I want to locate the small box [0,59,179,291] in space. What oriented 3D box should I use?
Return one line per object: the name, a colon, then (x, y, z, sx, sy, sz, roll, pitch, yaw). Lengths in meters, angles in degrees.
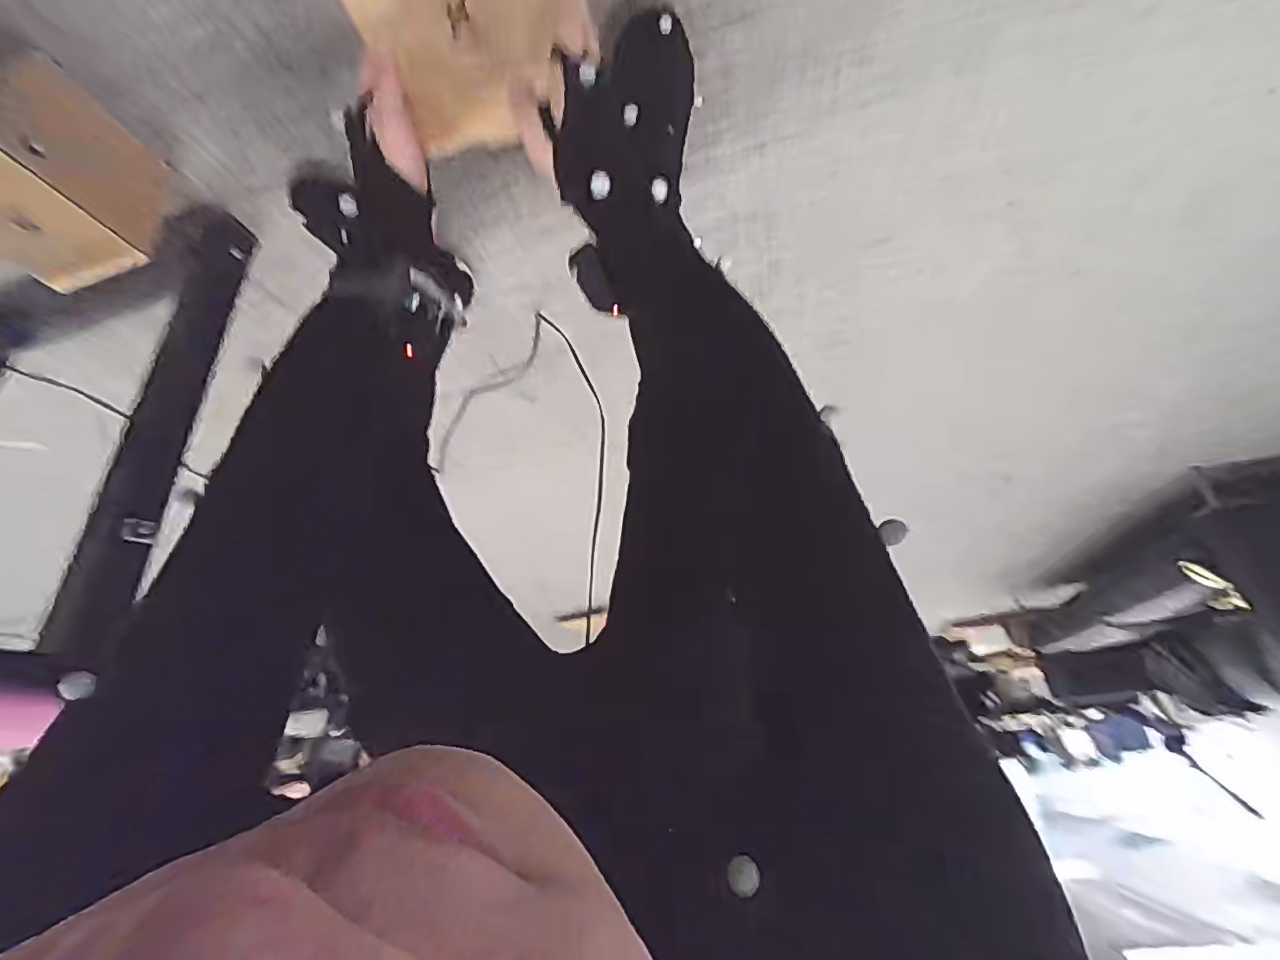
small box: (-0.758, -0.385, 0.698, 0.168, 0.176, 0.179, -12, 151, 12)
